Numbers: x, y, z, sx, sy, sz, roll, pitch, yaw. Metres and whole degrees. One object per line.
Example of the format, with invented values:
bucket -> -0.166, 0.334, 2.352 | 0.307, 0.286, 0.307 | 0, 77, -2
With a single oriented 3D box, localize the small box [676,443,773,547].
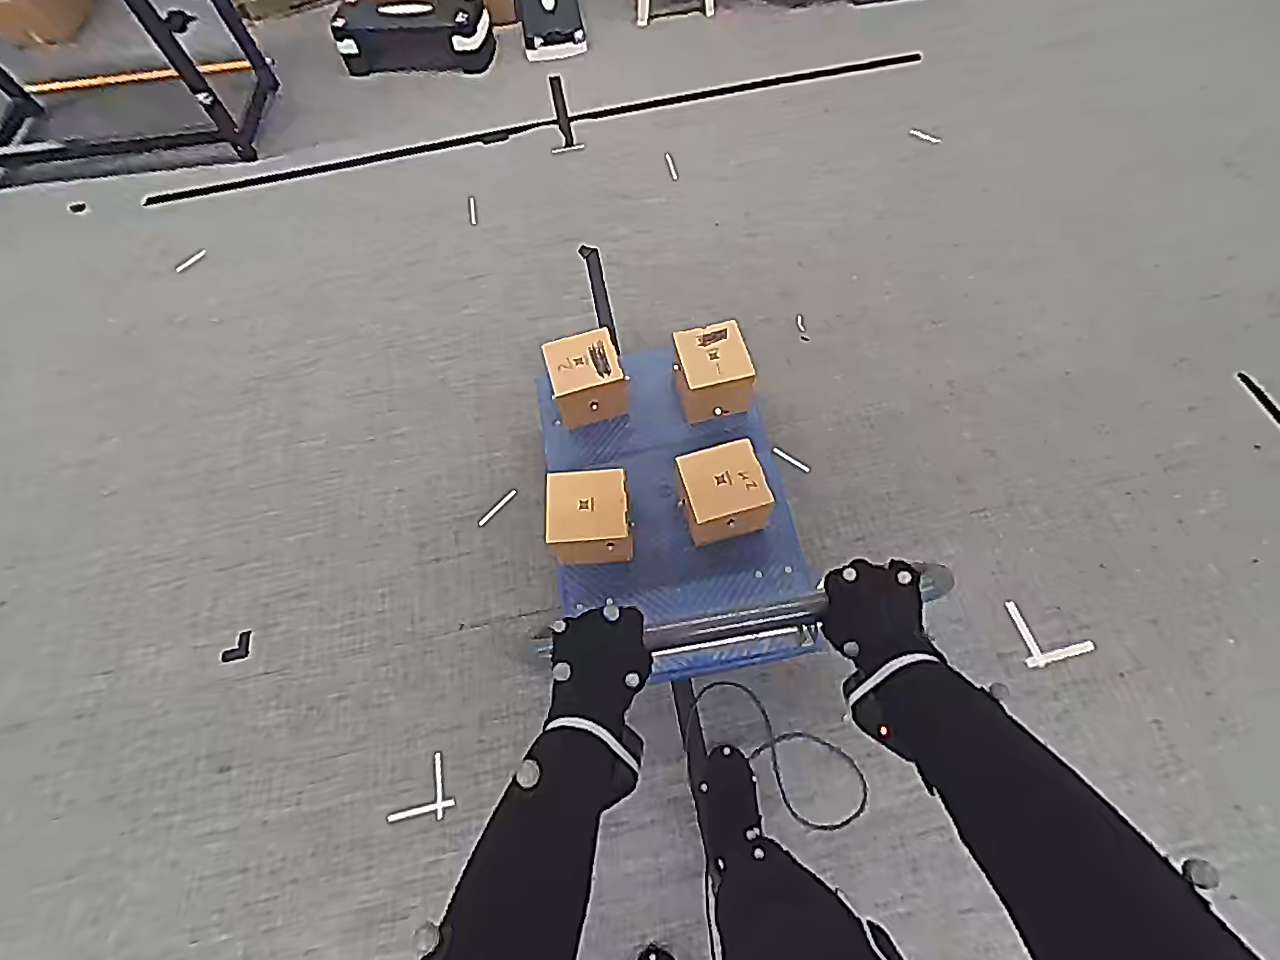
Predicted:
small box -> 0.190, 0.042, 1.257 | 0.179, 0.176, 0.168 | -15, 65, -3

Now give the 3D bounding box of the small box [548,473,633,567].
small box -> -0.110, 0.098, 1.249 | 0.179, 0.176, 0.168 | -4, 65, 0

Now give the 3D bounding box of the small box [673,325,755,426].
small box -> 0.183, -0.266, 1.399 | 0.168, 0.176, 0.179 | -13, 66, -3
